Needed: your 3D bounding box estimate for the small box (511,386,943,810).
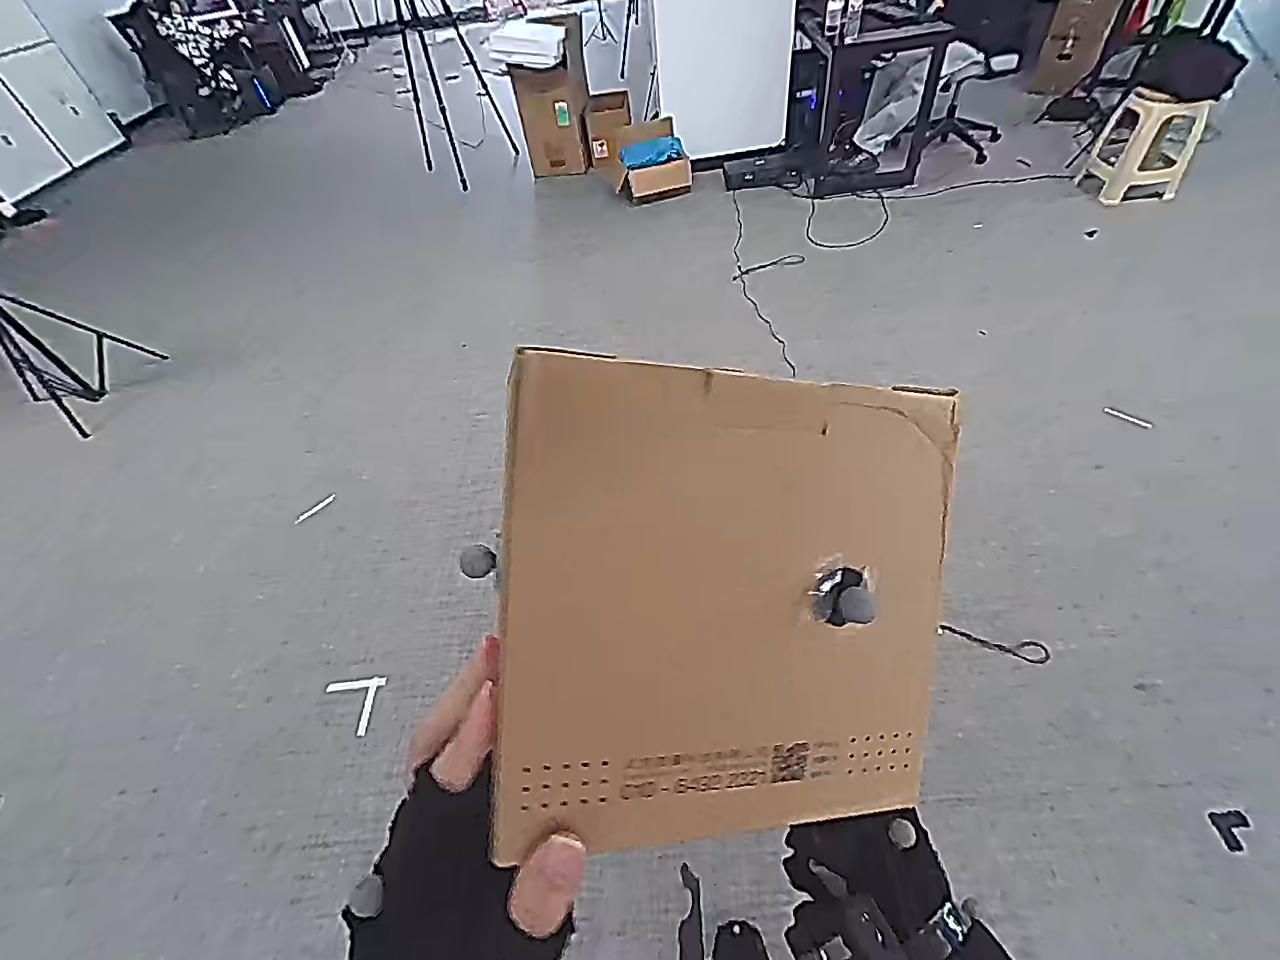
[{"bbox_3d":[0.021,0.045,0.287,0.168,0.176,0.179,3,5,-15],"label":"small box"}]
